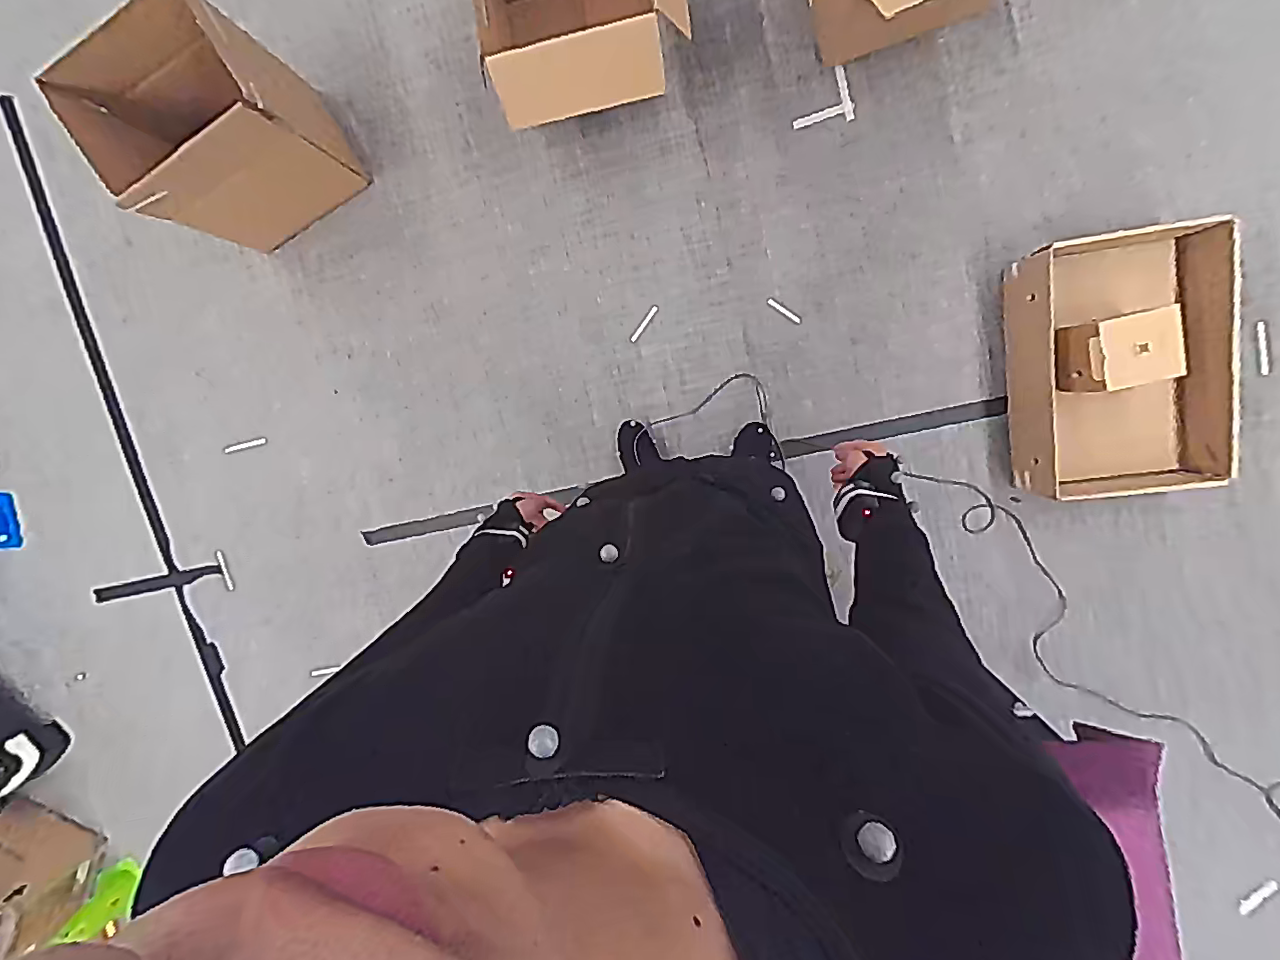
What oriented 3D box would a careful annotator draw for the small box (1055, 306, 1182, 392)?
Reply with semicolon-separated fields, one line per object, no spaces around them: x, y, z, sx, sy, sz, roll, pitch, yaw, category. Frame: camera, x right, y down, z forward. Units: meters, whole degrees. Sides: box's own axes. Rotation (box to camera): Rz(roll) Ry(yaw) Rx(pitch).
1.156;-0.312;1.323;0.179;0.176;0.168;-12;98;8;small box
